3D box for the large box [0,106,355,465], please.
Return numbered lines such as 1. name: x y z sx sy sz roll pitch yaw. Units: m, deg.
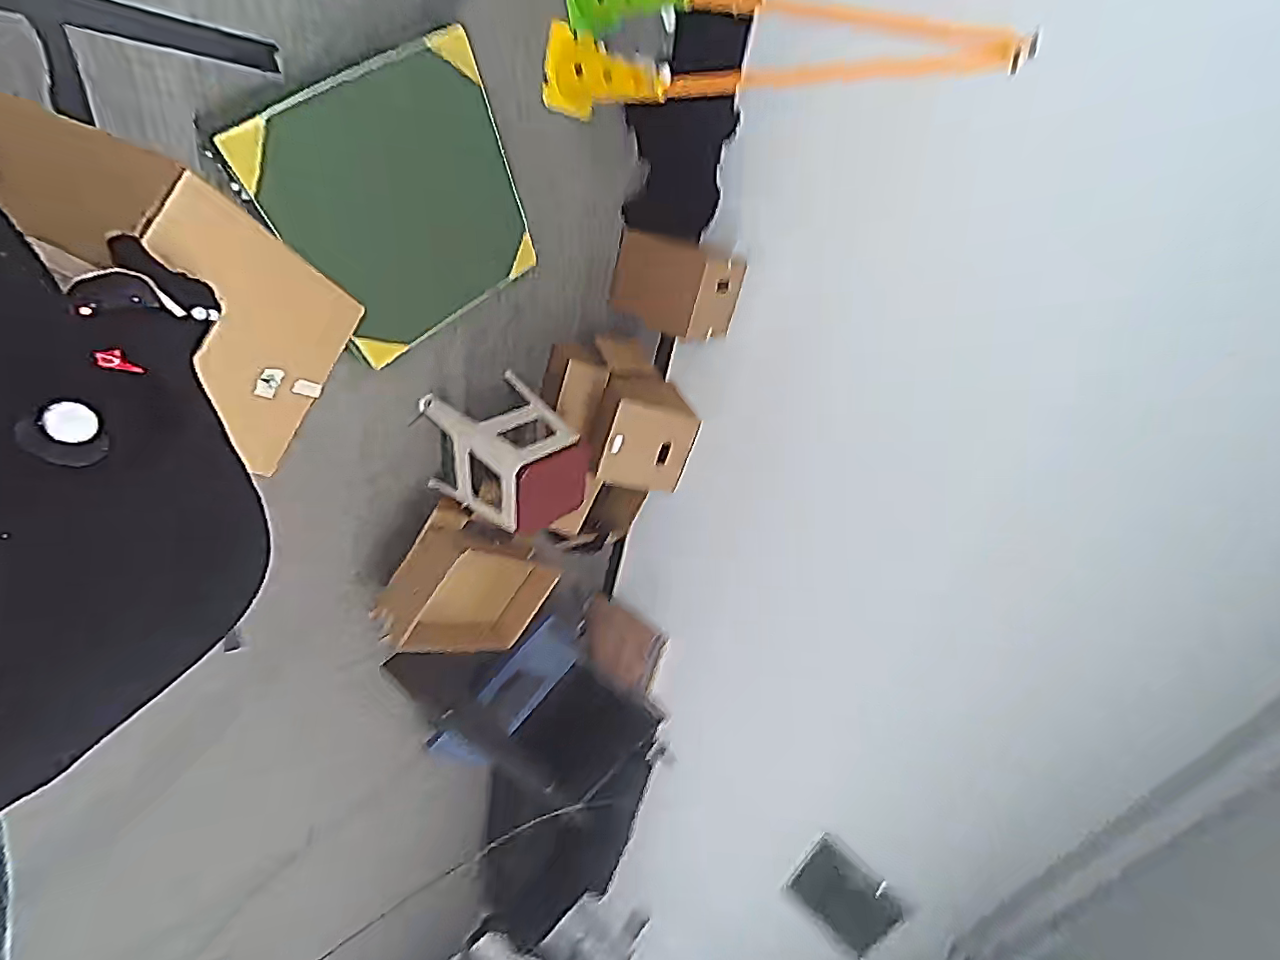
1. large box: -0.718 -0.252 0.767 0.320 0.408 0.320 -65 167 -6
